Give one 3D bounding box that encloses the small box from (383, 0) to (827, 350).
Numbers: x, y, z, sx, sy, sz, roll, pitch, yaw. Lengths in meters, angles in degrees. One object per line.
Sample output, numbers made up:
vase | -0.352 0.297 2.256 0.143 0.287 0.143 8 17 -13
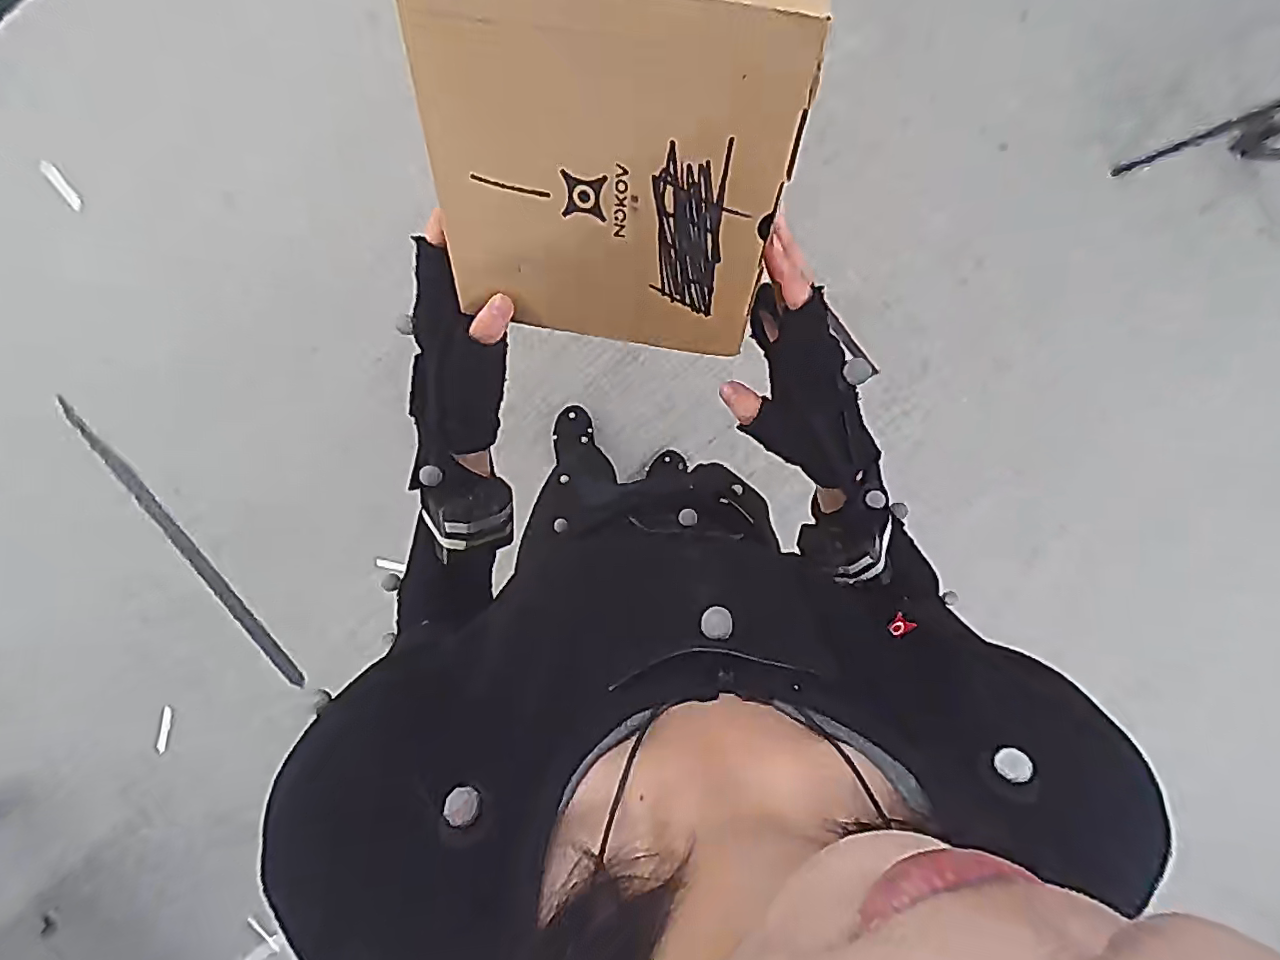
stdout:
small box | -0.010 -0.203 0.309 0.179 0.168 0.176 10 52 2
